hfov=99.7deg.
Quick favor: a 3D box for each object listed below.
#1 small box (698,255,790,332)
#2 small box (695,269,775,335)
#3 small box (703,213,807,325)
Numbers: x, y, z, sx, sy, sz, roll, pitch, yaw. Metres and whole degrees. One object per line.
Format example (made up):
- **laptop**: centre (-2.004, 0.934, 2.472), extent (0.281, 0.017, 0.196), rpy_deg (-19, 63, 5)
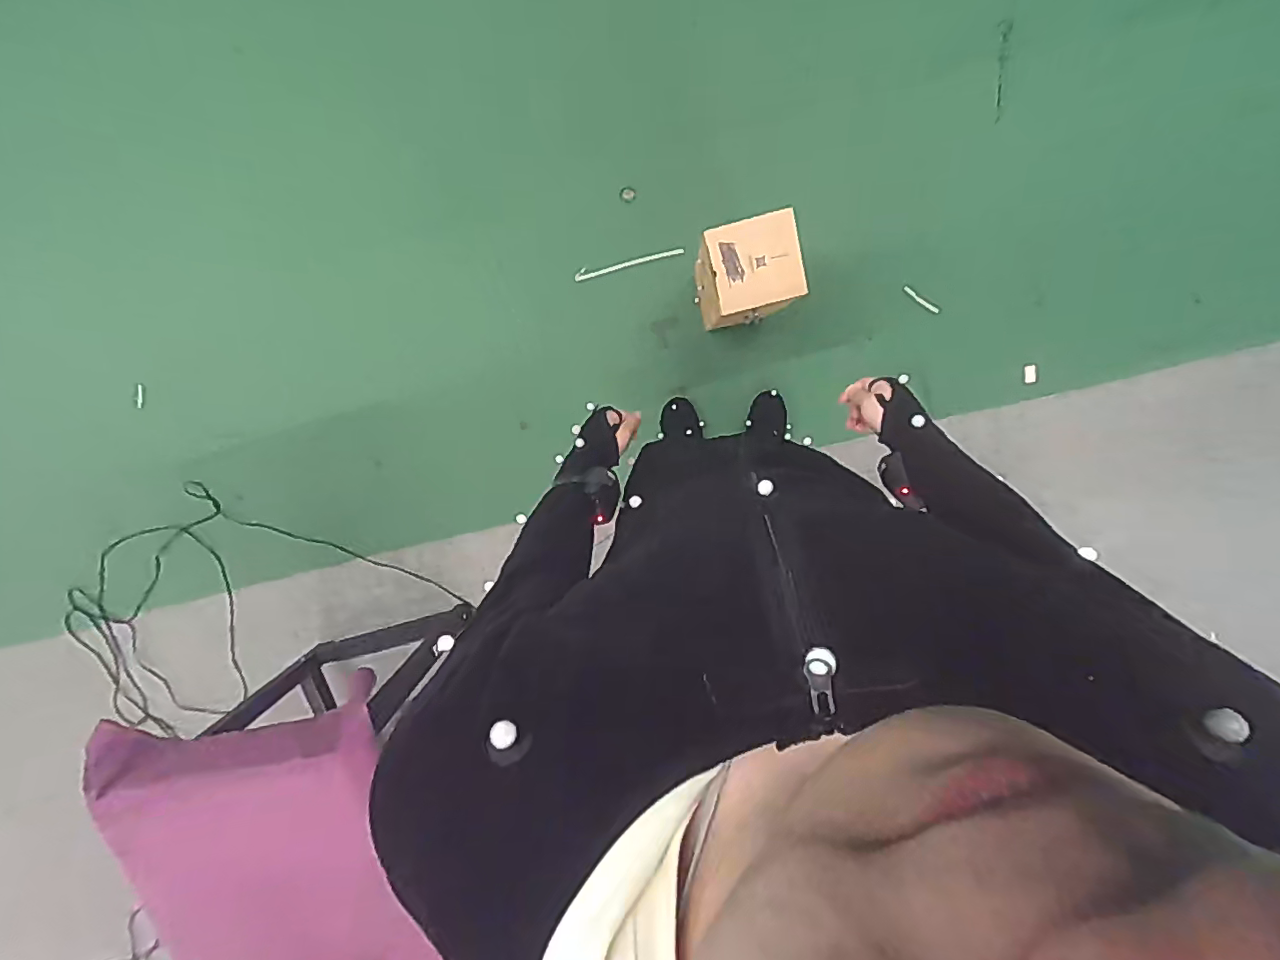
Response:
- **small box**: centre (0.242, -0.458, 1.292), extent (0.179, 0.176, 0.168), rpy_deg (-12, 100, 7)
- **small box**: centre (0.251, -0.492, 1.450), extent (0.179, 0.176, 0.168), rpy_deg (-11, 100, 5)
- **small box**: centre (0.232, -0.429, 1.131), extent (0.179, 0.176, 0.168), rpy_deg (-13, 101, 5)
